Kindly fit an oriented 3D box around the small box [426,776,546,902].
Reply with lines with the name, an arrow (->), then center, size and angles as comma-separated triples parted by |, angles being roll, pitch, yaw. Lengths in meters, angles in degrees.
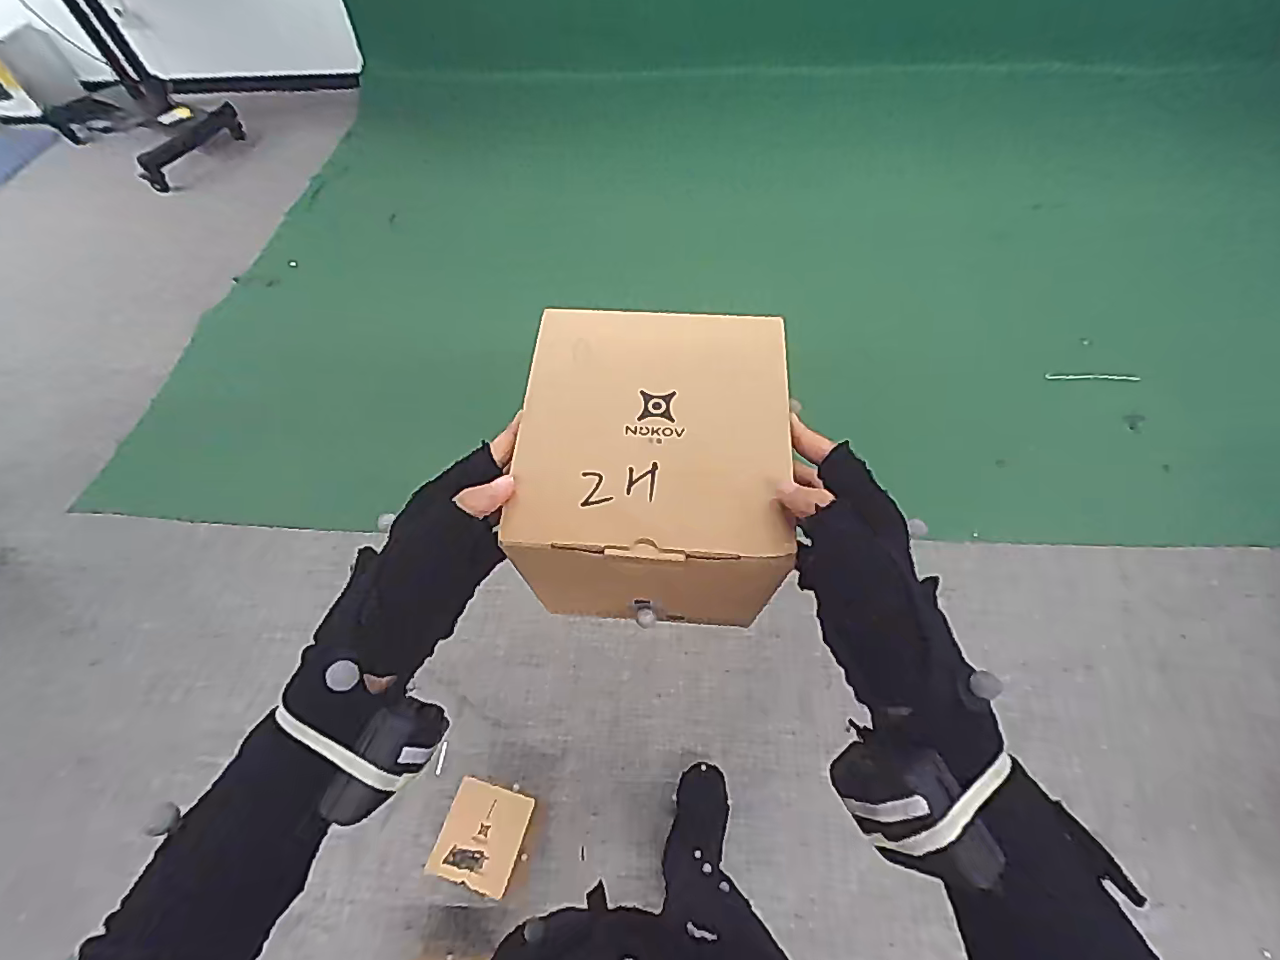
small box -> -0.312, 0.753, 1.142 | 0.168, 0.176, 0.179 | 13, 57, 10
